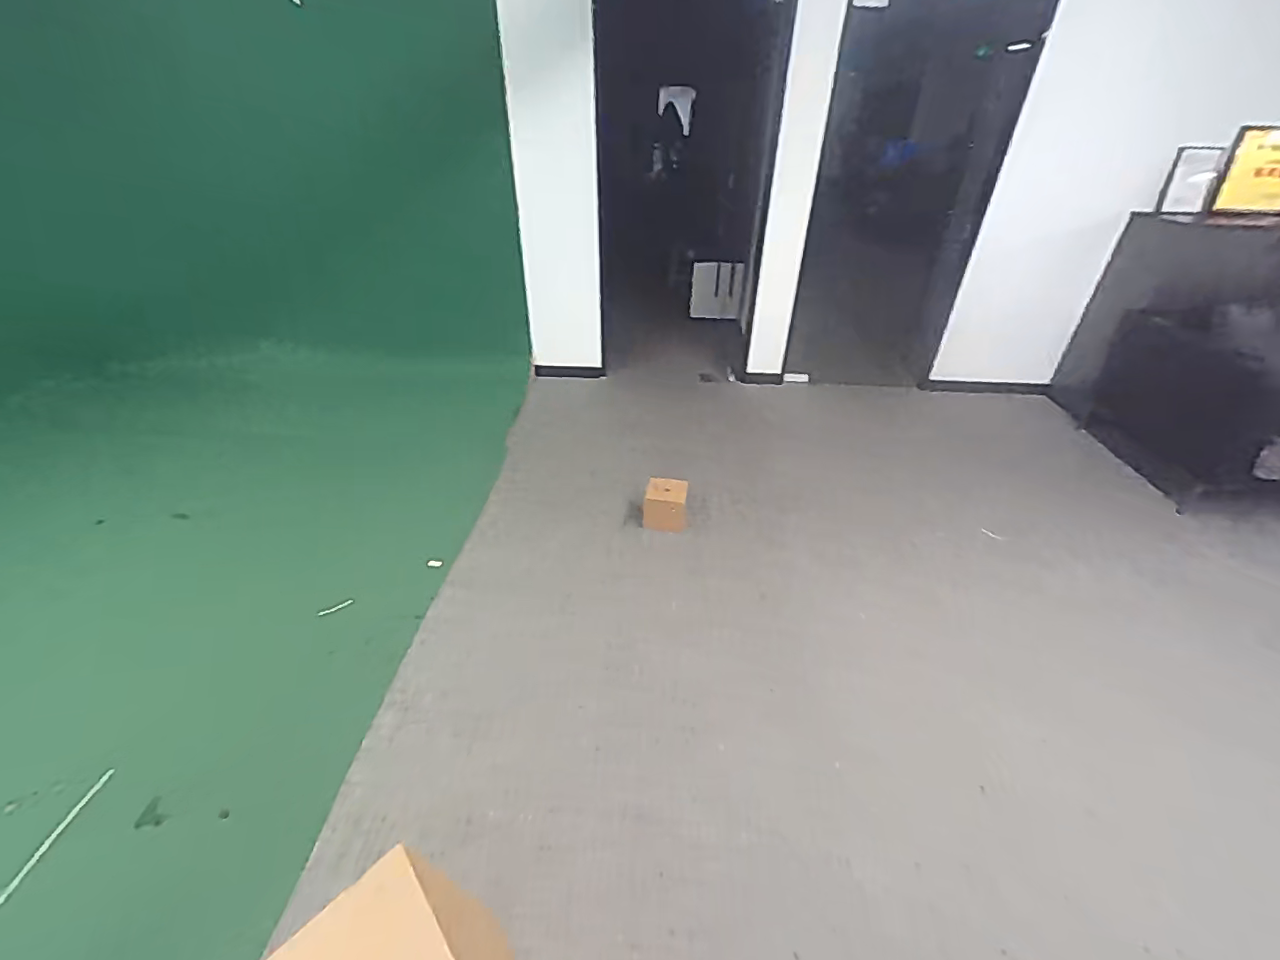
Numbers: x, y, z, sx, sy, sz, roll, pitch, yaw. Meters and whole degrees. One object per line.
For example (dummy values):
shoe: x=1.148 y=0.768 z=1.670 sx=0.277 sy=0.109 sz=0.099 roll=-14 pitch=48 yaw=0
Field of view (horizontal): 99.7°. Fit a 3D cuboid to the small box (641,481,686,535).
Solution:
small box: x=0.103 y=0.126 z=2.386 sx=0.179 sy=0.176 sz=0.168 roll=6 pitch=35 yaw=7
